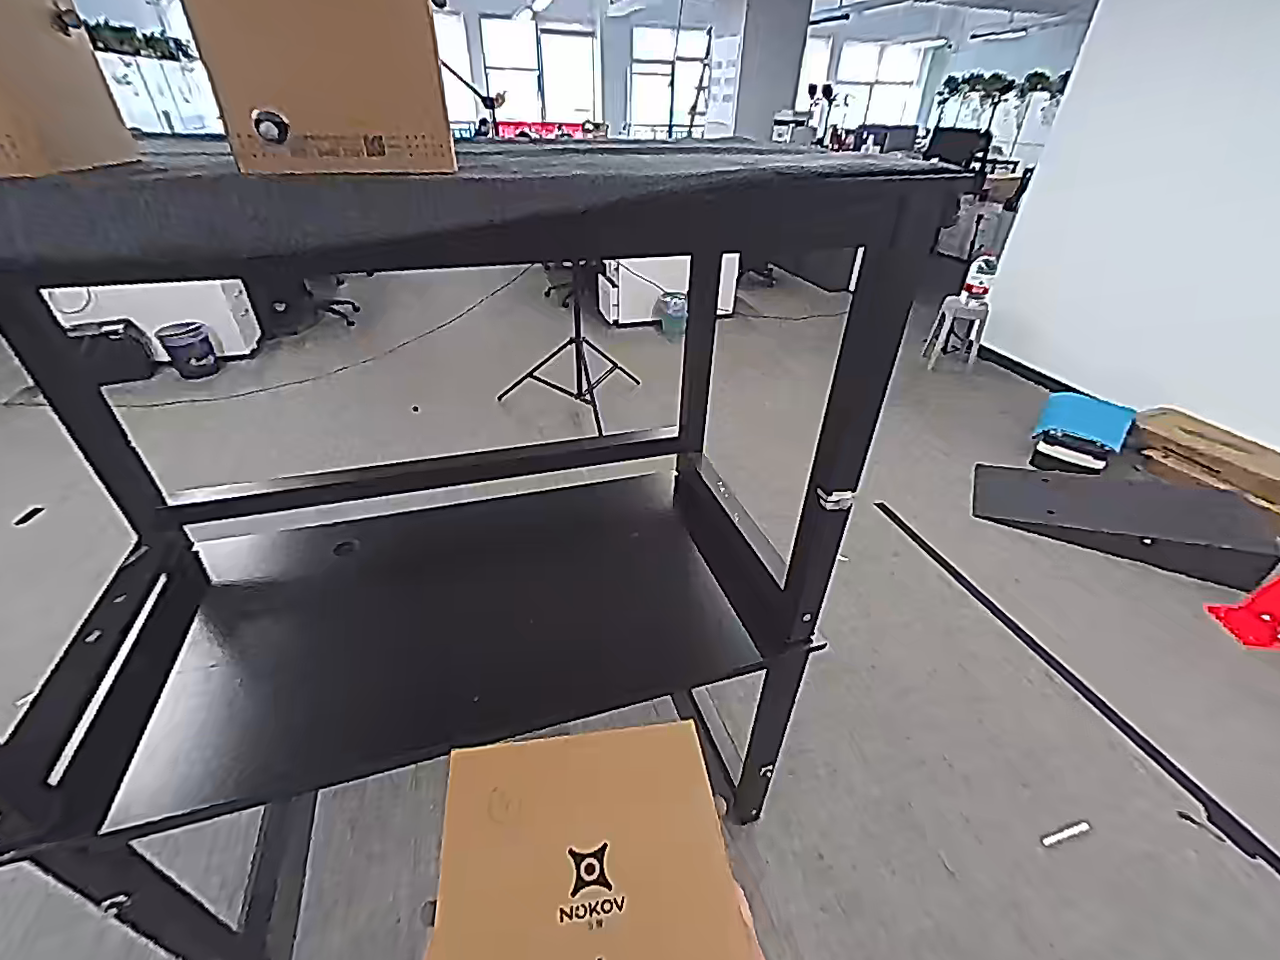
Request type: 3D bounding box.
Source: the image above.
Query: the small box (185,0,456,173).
[{"bbox_3d":[-0.258,-0.365,0.466,0.168,0.176,0.179,-9,34,-15],"label":"small box"}]

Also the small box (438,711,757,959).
[{"bbox_3d":[-0.033,0.283,0.356,0.168,0.176,0.179,-3,41,-10],"label":"small box"}]
